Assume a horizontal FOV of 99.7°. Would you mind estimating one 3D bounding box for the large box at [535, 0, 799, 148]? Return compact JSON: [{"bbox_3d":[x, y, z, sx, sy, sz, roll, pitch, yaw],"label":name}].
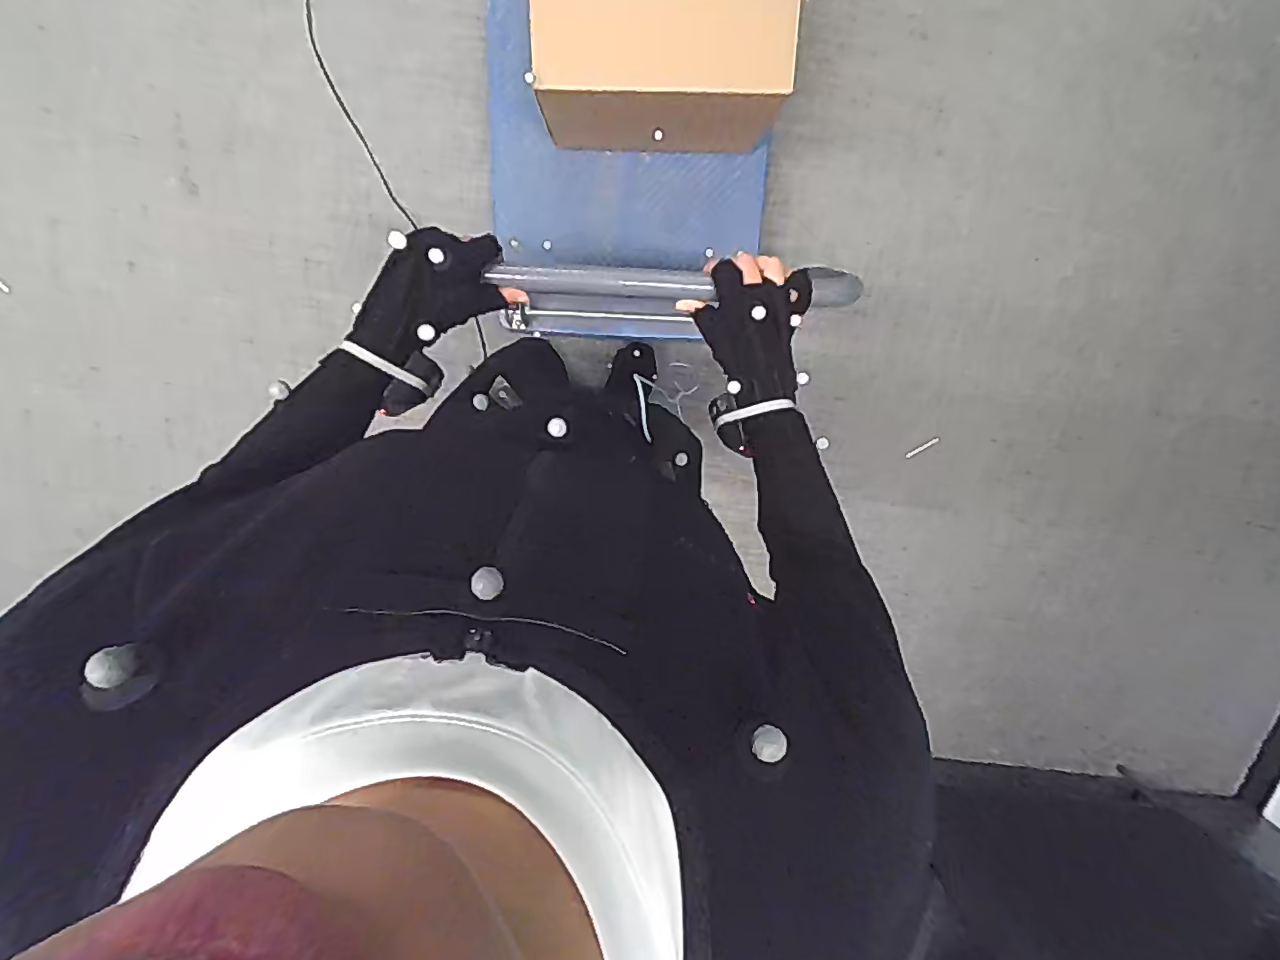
[{"bbox_3d":[0.038,-0.794,0.941,0.408,0.320,0.320,0,106,-2],"label":"large box"}]
